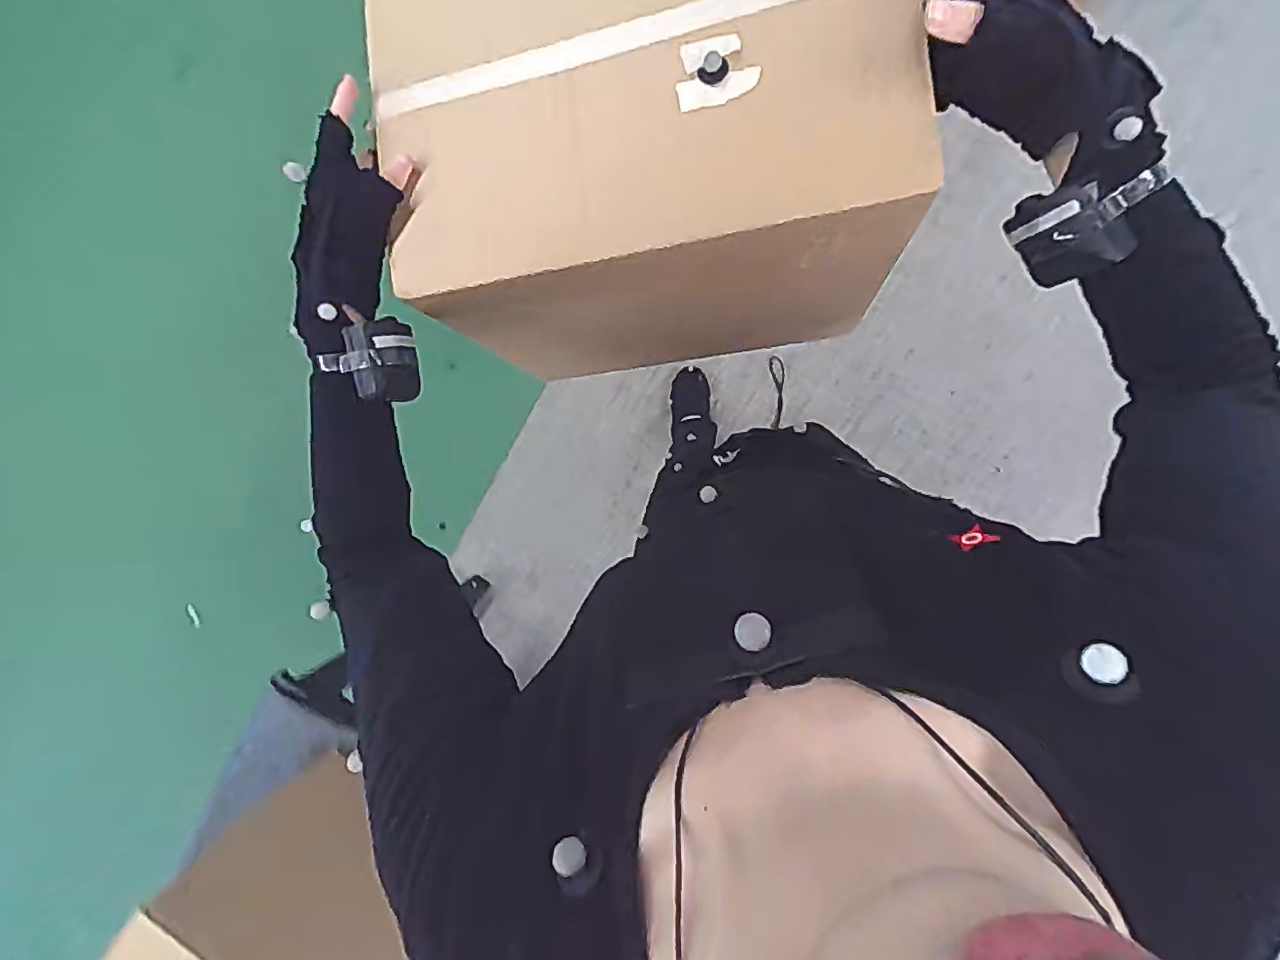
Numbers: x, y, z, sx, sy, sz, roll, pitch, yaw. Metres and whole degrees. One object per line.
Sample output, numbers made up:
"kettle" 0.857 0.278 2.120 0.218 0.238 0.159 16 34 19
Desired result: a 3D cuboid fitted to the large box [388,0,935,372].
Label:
"large box" 0.017 -0.324 0.556 0.408 0.320 0.320 -6 87 10
